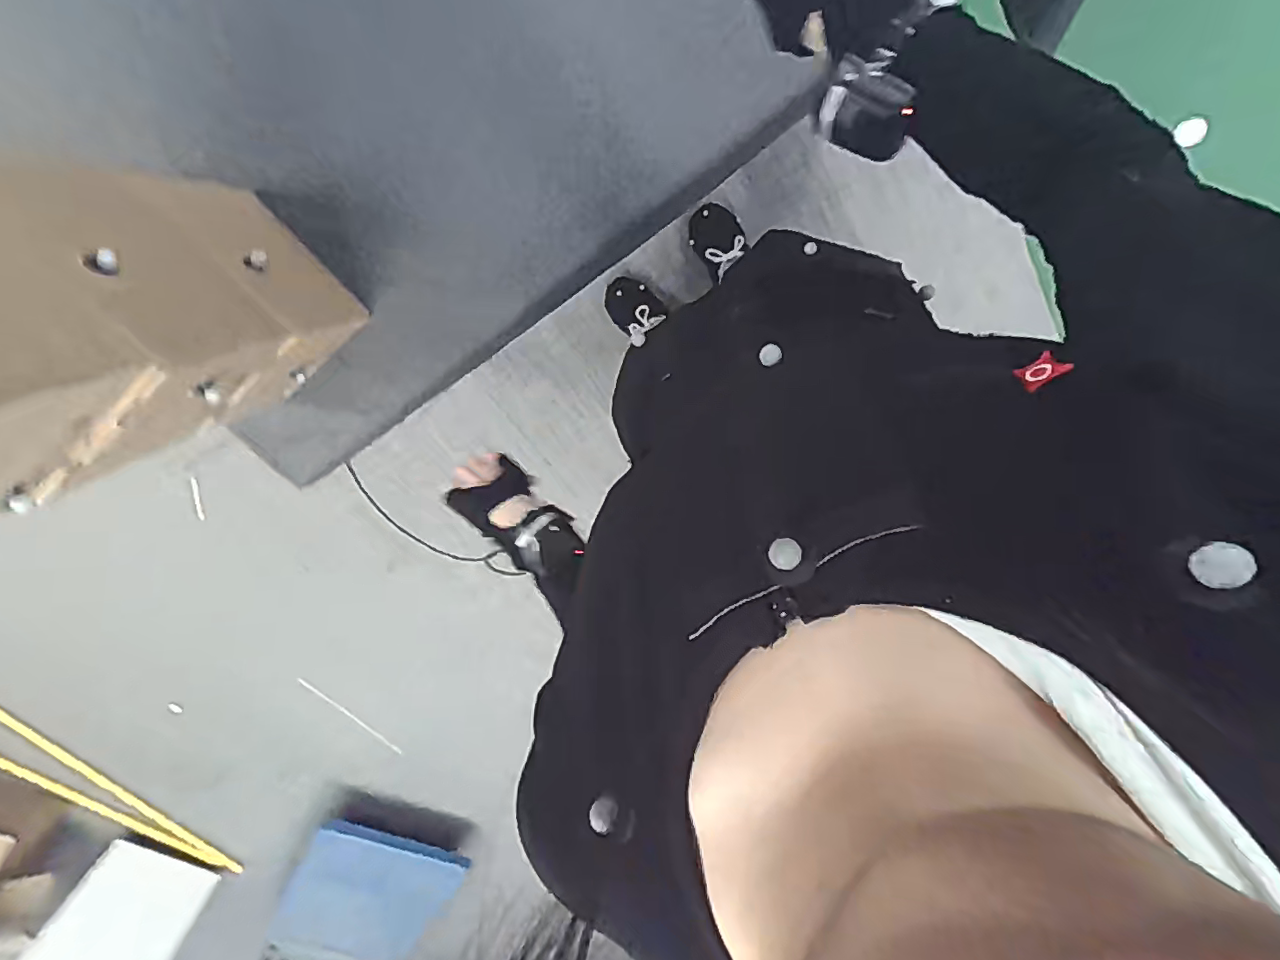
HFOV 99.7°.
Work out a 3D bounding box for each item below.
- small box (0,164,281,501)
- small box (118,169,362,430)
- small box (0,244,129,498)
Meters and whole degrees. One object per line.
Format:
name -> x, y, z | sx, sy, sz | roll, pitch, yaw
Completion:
small box -> -0.438, -0.122, 0.423 | 0.168, 0.176, 0.179 | -36, 111, 13
small box -> -0.444, -0.187, 0.572 | 0.168, 0.176, 0.179 | -36, 111, 13
small box -> -0.436, -0.059, 0.272 | 0.168, 0.176, 0.179 | -38, 111, 13
